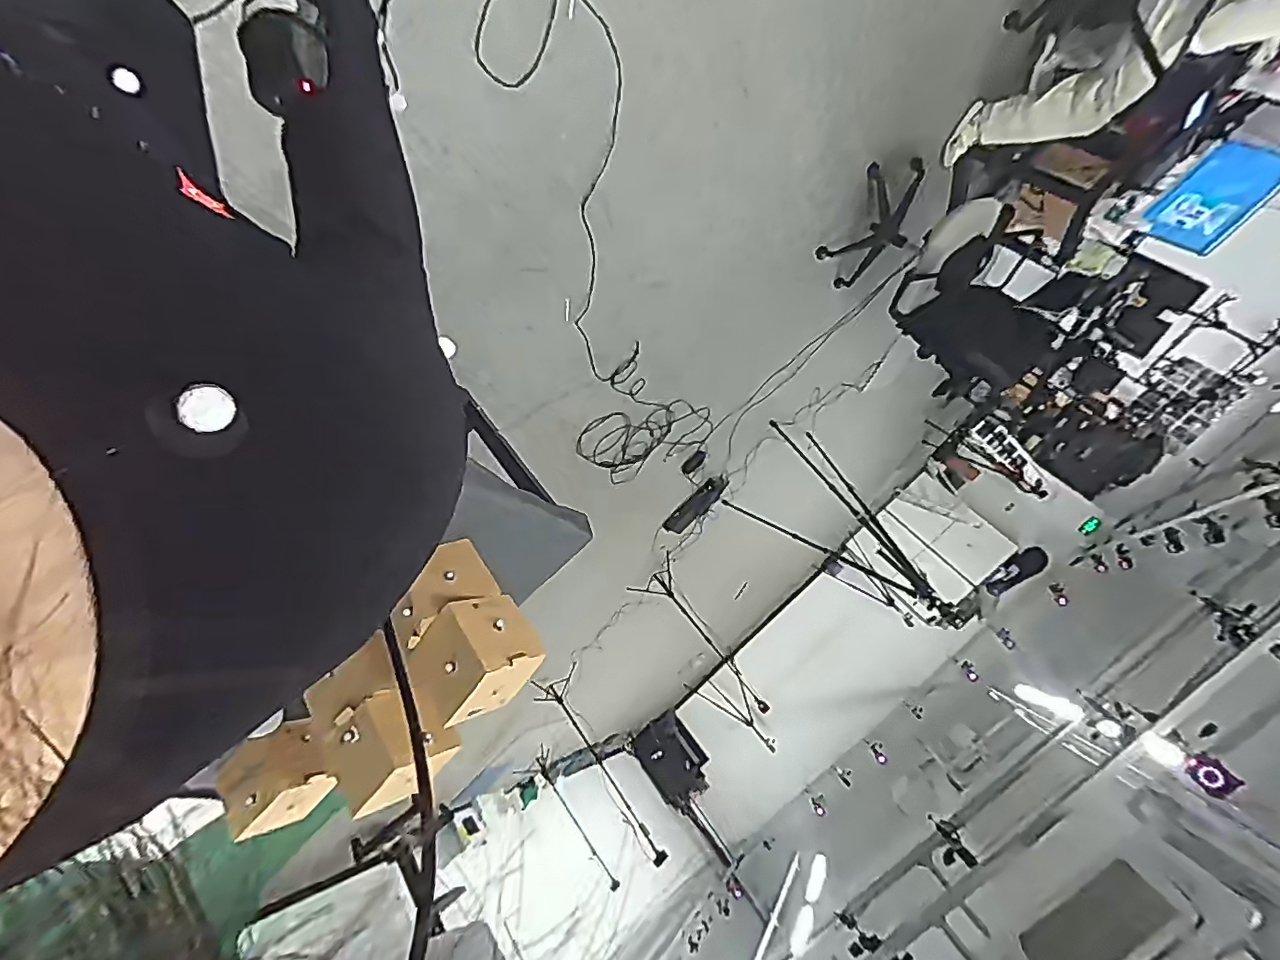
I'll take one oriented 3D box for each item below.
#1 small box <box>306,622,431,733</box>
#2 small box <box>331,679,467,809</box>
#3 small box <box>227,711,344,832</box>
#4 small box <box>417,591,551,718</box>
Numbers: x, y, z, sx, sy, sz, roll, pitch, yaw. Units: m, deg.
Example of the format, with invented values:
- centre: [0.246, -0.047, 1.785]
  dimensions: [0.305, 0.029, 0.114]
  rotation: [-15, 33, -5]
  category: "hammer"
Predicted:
- centre: [-0.611, 0.442, 1.232]
  dimensions: [0.168, 0.176, 0.179]
  rotation: [-45, 153, 3]
  category: "small box"
- centre: [-0.516, 0.552, 1.159]
  dimensions: [0.168, 0.176, 0.179]
  rotation: [-50, 152, 13]
  category: "small box"
- centre: [-0.836, 0.678, 1.281]
  dimensions: [0.179, 0.176, 0.168]
  rotation: [-46, 154, 7]
  category: "small box"
- centre: [-0.323, 0.343, 1.106]
  dimensions: [0.179, 0.176, 0.168]
  rotation: [-53, 151, 18]
  category: "small box"
